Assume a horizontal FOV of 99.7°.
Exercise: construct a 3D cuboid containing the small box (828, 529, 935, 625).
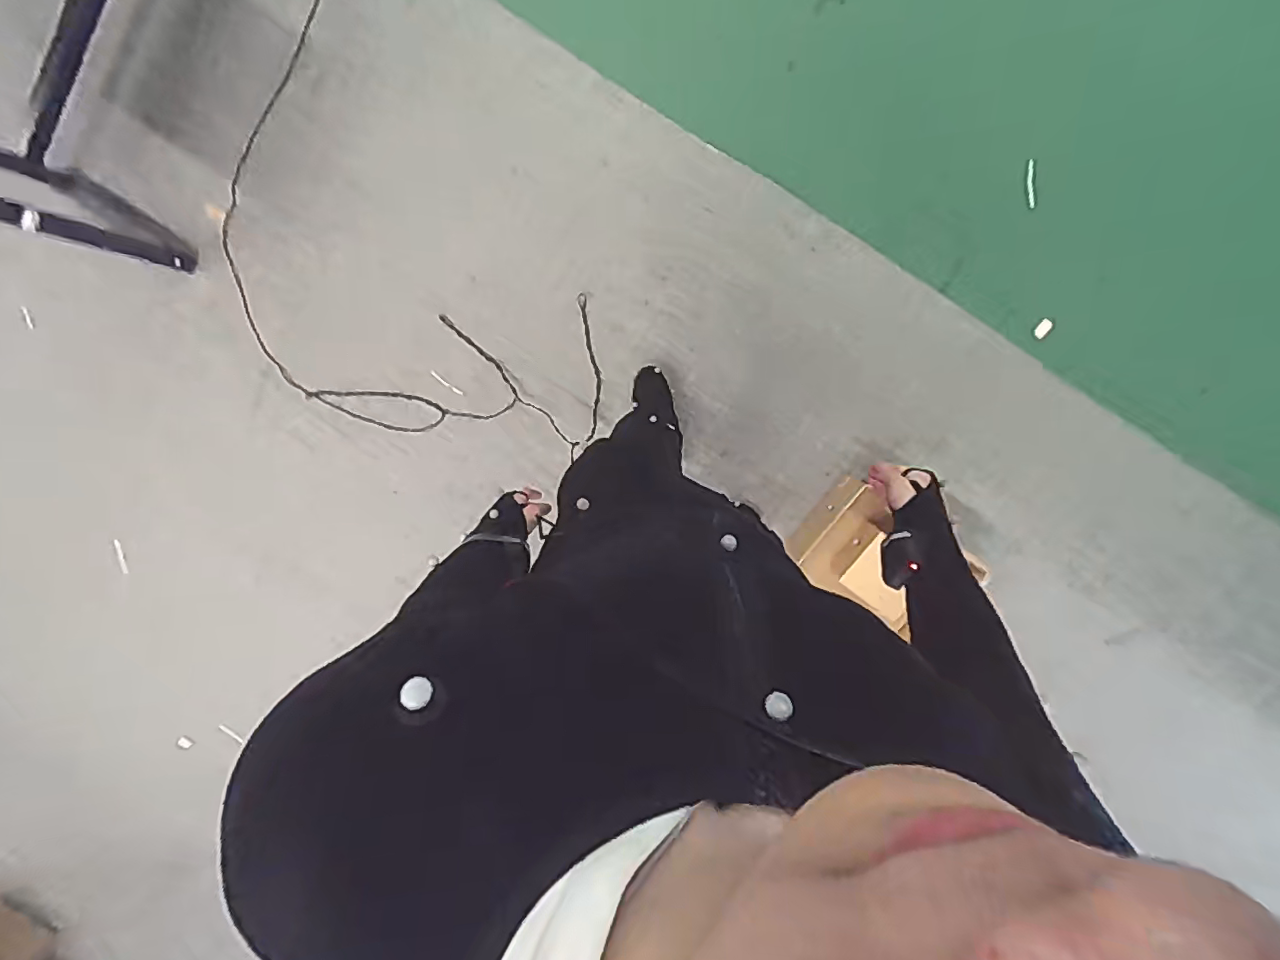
[{"bbox_3d":[0.628,0.245,1.434,0.179,0.176,0.168,37,100,2],"label":"small box"}]
